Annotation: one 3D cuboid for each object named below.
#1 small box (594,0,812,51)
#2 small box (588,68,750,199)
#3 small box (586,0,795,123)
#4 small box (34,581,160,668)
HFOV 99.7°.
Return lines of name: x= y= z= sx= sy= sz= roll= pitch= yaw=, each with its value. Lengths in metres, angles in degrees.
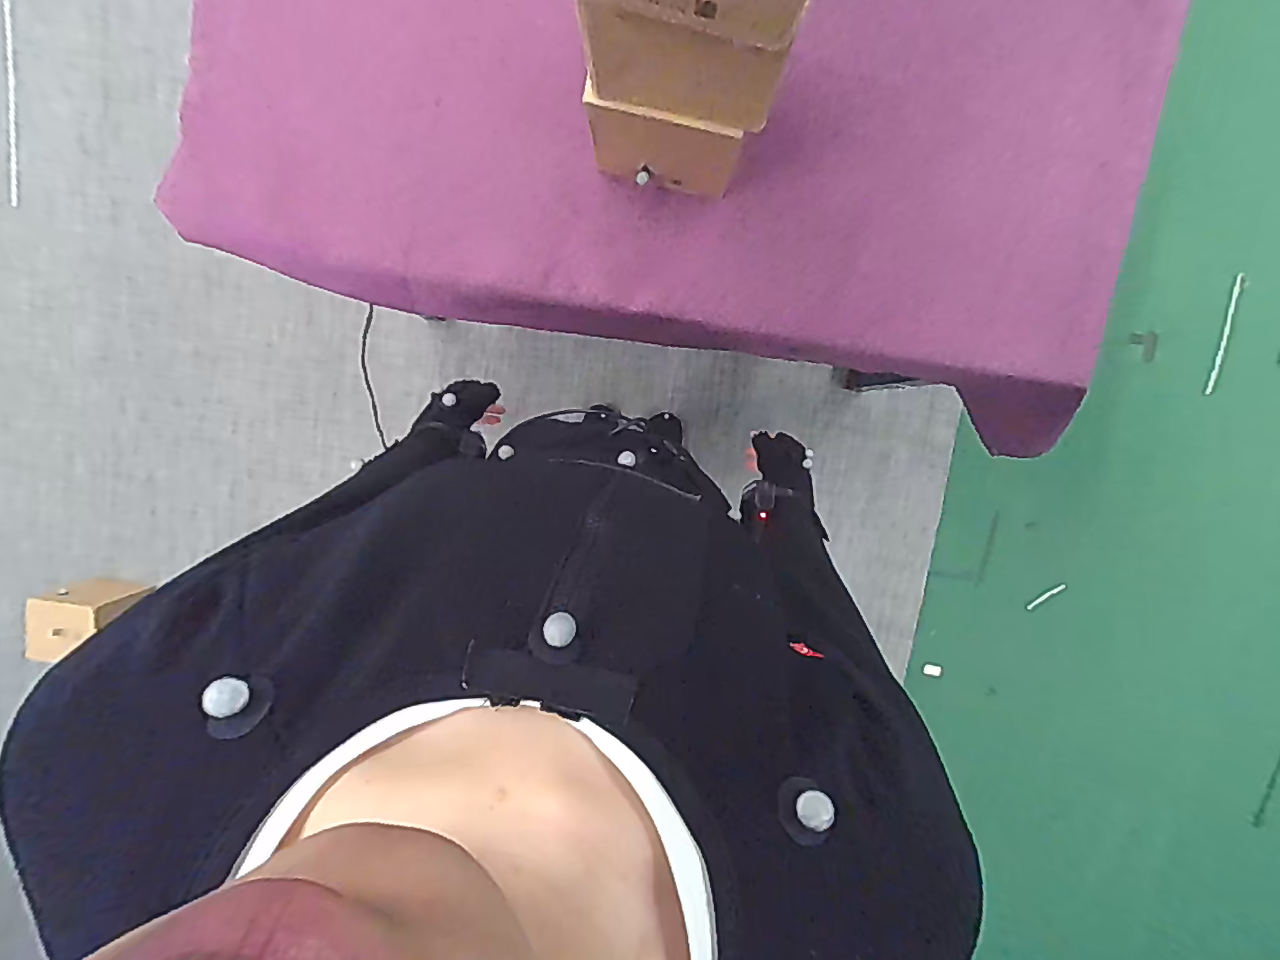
small box: x=0.047 y=-0.386 z=0.282 sx=0.168 sy=0.176 sz=0.179 roll=14 pitch=96 yaw=-1
small box: x=0.046 y=-0.449 z=0.602 sx=0.168 sy=0.176 sz=0.179 roll=13 pitch=98 yaw=-1
small box: x=0.052 y=-0.430 z=0.441 sx=0.179 sy=0.176 sz=0.168 roll=11 pitch=97 yaw=-1
small box: x=-1.445 y=0.378 z=1.445 sx=0.179 sy=0.176 sz=0.168 roll=7 pitch=98 yaw=-1
